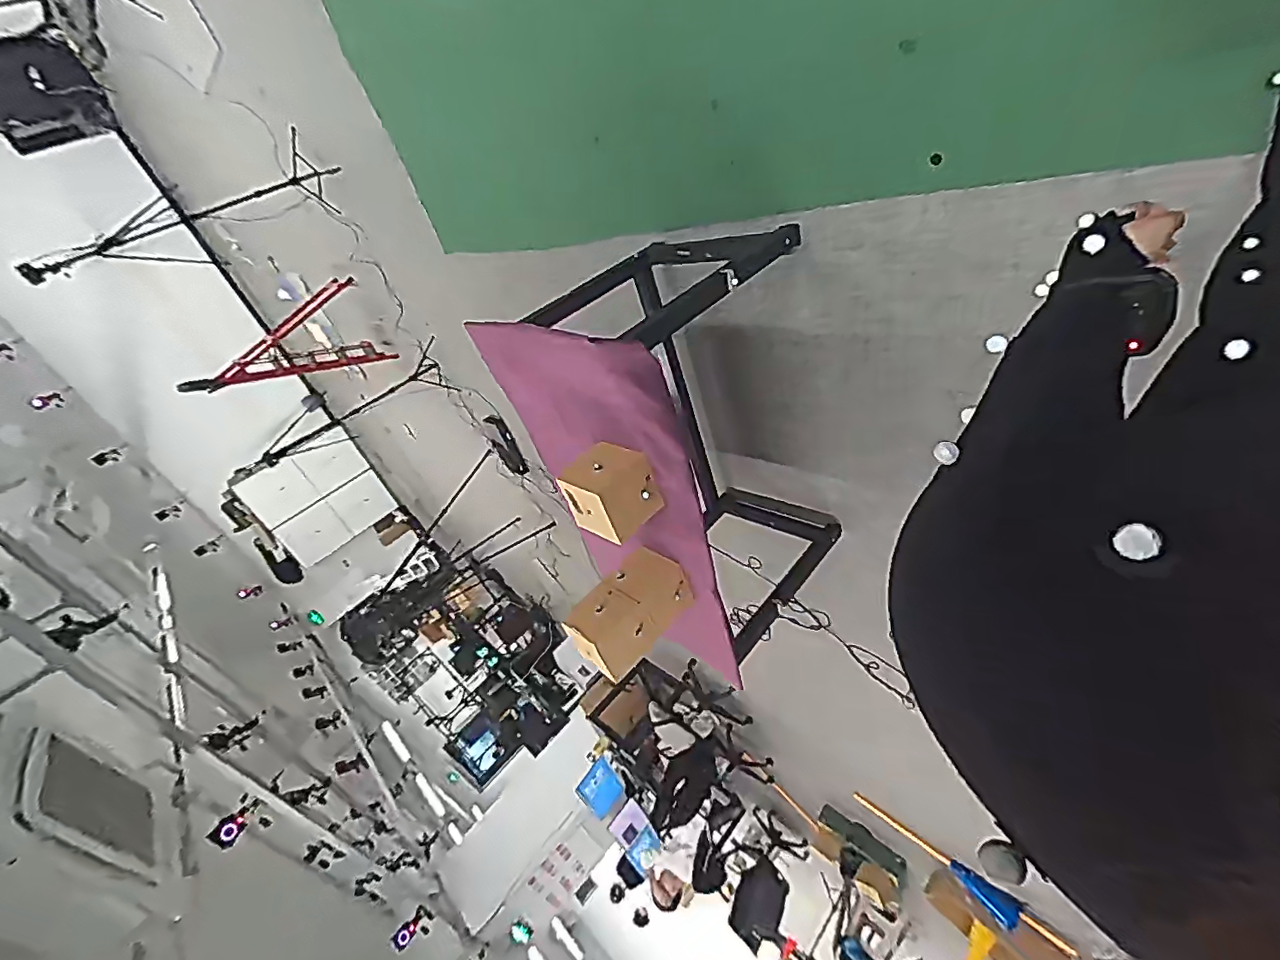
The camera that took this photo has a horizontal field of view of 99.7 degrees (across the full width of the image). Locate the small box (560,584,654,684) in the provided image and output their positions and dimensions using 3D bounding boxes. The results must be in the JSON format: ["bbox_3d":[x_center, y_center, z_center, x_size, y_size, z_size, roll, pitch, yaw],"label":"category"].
[{"bbox_3d":[-0.088,0.424,1.518,0.168,0.176,0.179,19,140,47],"label":"small box"}]

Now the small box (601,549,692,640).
[{"bbox_3d":[0.022,0.328,1.592,0.179,0.176,0.168,19,141,46],"label":"small box"}]

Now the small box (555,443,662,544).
[{"bbox_3d":[-0.075,0.026,1.355,0.179,0.176,0.168,19,141,44],"label":"small box"}]
